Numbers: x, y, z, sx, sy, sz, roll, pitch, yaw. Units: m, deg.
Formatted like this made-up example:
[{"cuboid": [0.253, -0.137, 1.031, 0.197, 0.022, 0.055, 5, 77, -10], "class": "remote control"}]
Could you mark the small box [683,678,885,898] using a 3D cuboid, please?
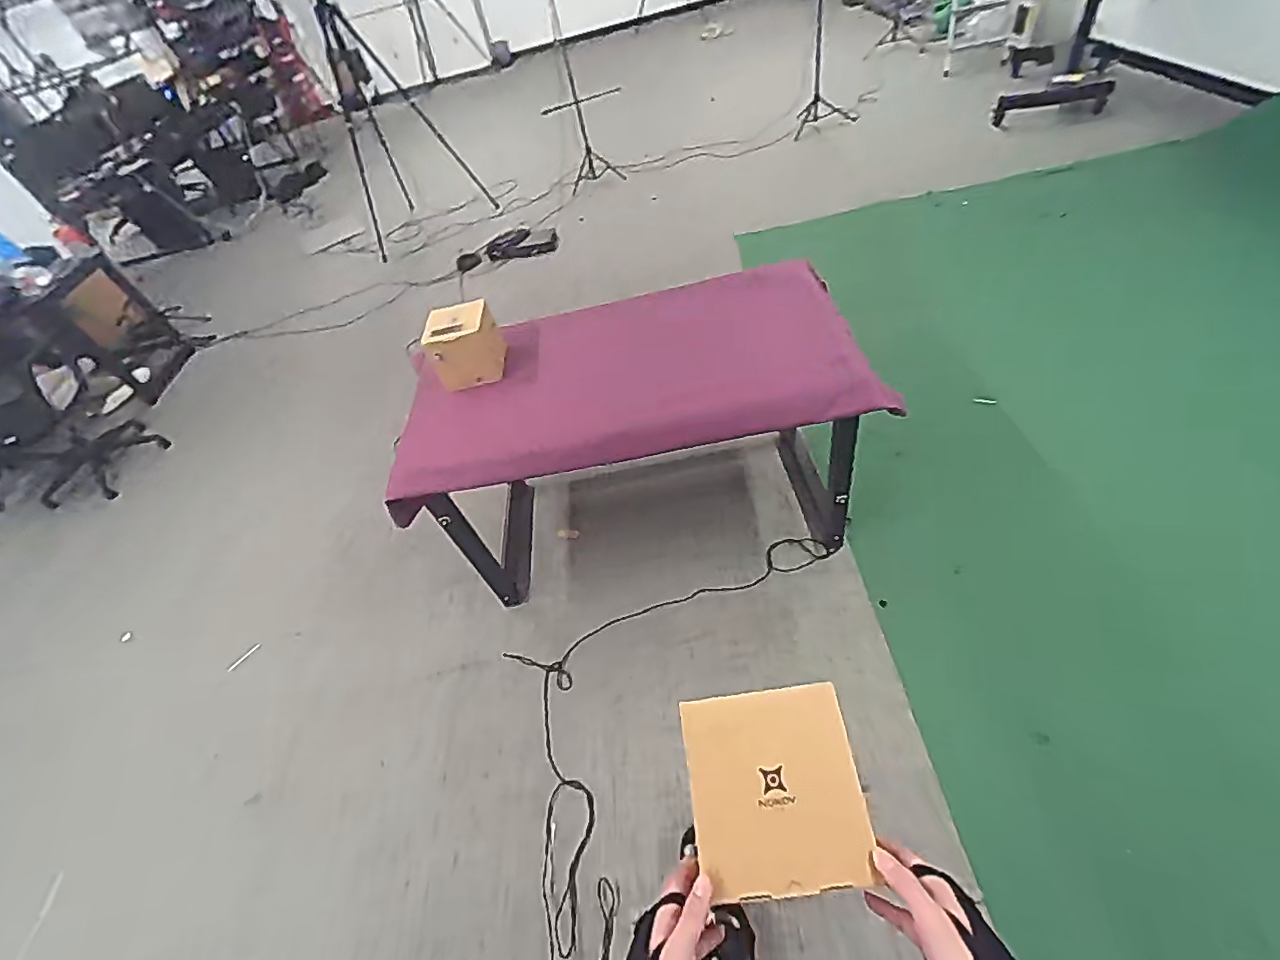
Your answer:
[{"cuboid": [0.139, 0.331, 0.598, 0.168, 0.176, 0.179, -9, 62, 2], "class": "small box"}]
